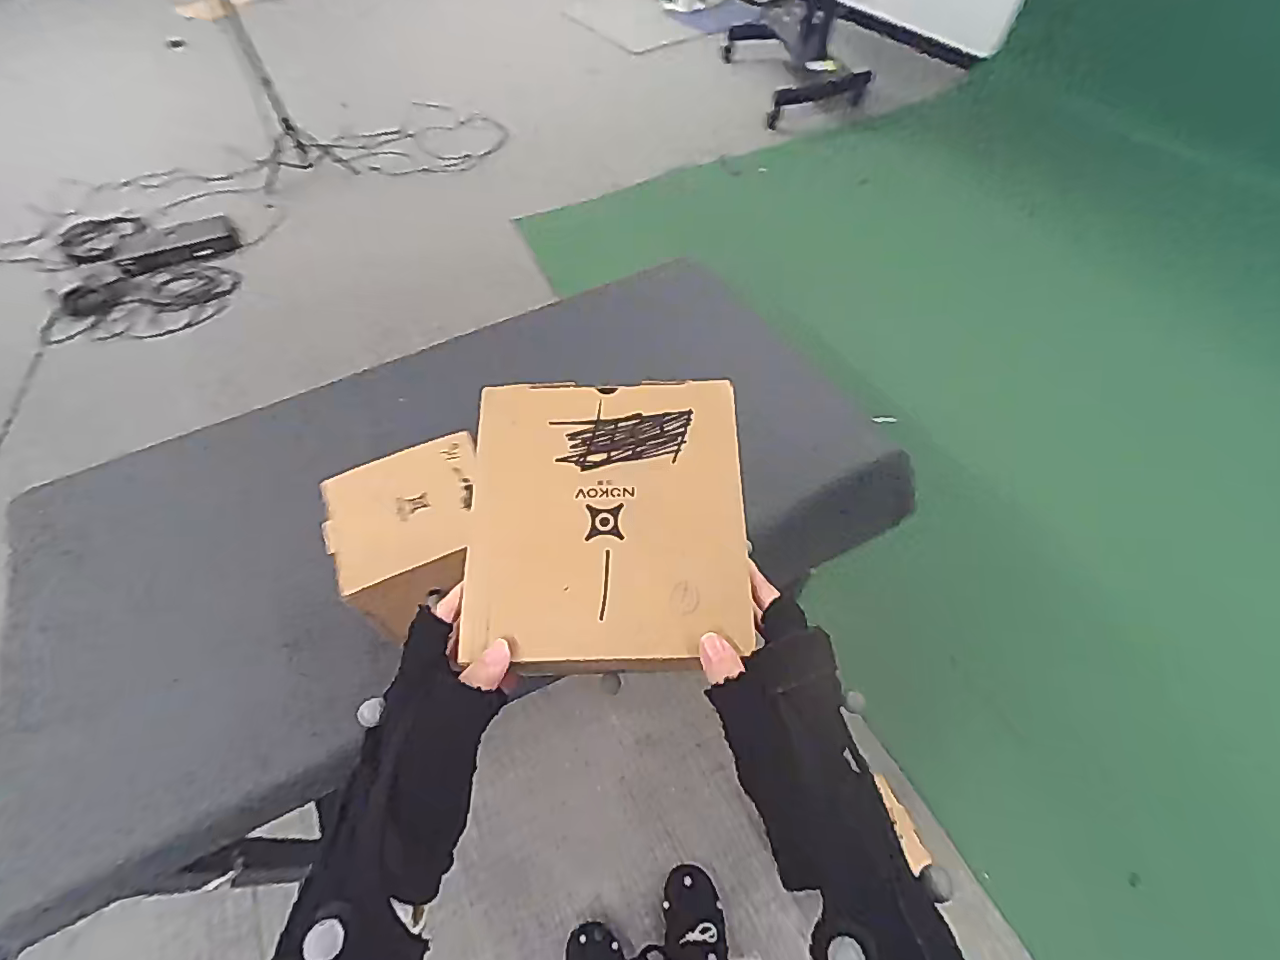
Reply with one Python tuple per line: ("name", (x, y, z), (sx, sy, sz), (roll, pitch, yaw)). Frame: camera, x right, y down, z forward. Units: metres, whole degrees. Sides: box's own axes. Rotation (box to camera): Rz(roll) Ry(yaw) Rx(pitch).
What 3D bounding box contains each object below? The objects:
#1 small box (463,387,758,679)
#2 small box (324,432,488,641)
("small box", (-0.013, 0.050, 0.401), (0.168, 0.176, 0.179), (0, 68, 2))
("small box", (-0.259, 0.076, 0.677), (0.179, 0.176, 0.168), (-22, 57, -13))
